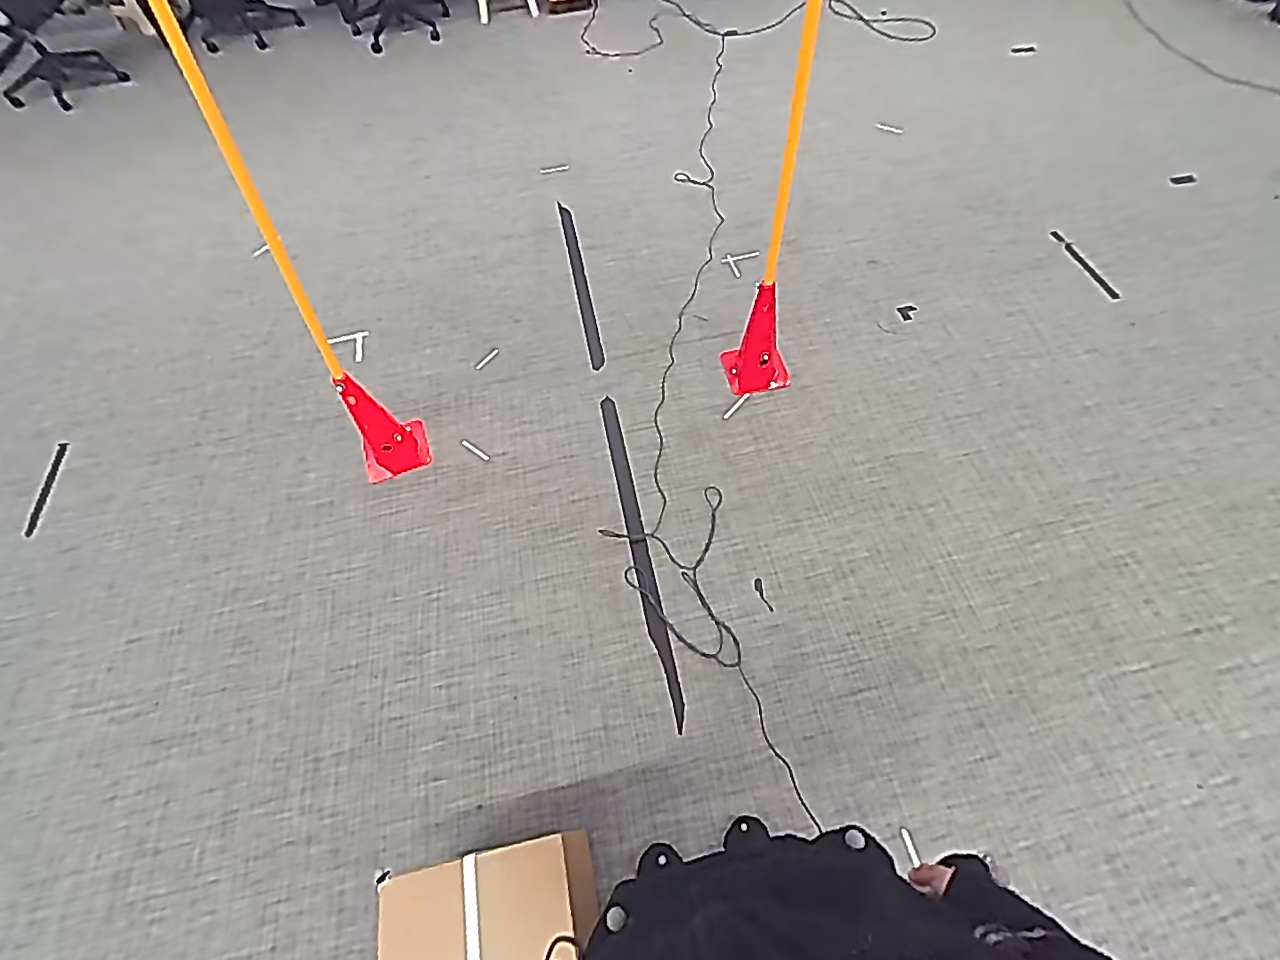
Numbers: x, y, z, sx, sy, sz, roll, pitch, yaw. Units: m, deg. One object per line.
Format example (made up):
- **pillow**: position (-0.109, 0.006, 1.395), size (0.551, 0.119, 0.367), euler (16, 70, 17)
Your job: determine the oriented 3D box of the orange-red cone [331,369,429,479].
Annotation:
- **orange-red cone**: position (-0.795, -0.190, 1.591), size (0.199, 0.360, 0.198), euler (-20, 59, -7)
